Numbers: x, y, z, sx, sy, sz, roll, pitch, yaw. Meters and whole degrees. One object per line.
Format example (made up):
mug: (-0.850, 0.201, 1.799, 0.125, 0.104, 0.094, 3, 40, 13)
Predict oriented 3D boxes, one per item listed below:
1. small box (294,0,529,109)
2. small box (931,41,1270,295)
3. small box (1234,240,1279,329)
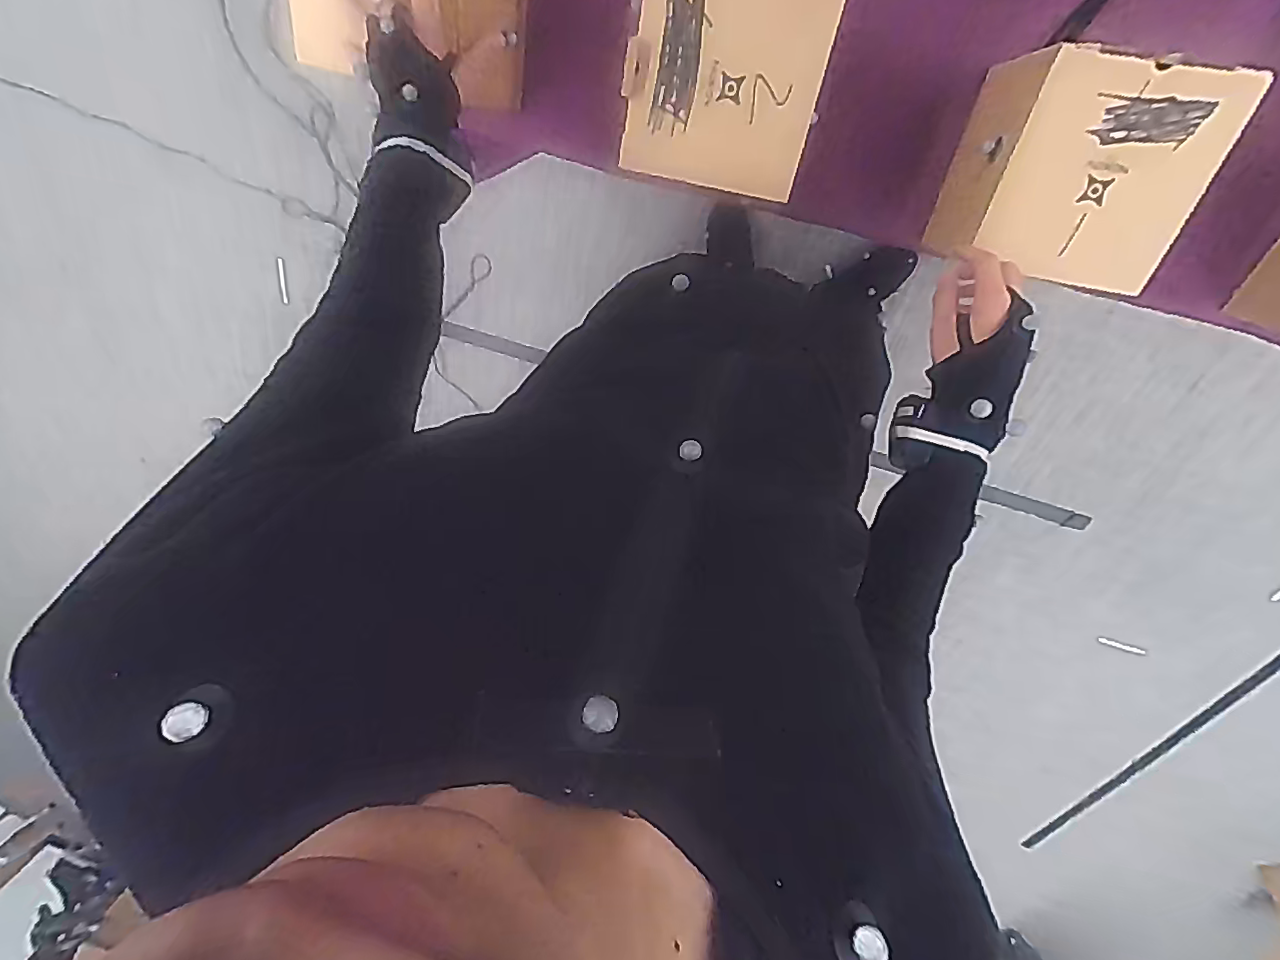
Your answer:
small box: (-0.231, -0.508, 0.569, 0.179, 0.176, 0.168, 15, 123, 3)
small box: (0.424, -0.308, 0.545, 0.168, 0.176, 0.179, 13, 124, 5)
small box: (0.770, -0.209, 0.524, 0.168, 0.176, 0.179, 17, 123, 3)
